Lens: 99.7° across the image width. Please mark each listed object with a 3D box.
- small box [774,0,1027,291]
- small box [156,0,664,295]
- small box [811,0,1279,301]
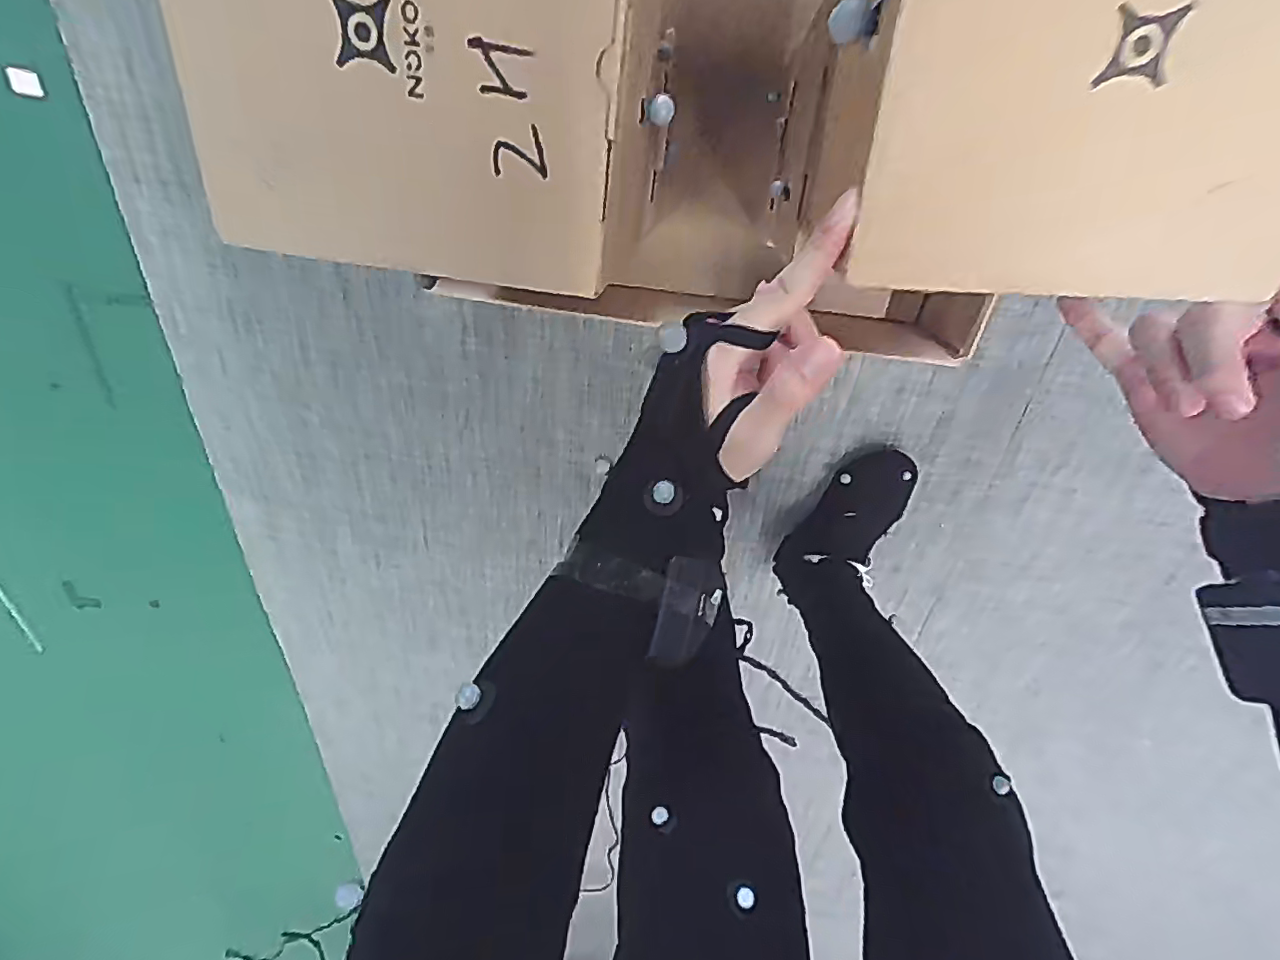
[{"bbox_3d":[0.203,-0.248,0.399,0.179,0.176,0.168,8,121,5],"label":"small box"},{"bbox_3d":[-0.088,-0.202,0.269,0.179,0.176,0.168,9,119,1],"label":"small box"},{"bbox_3d":[0.178,-0.193,0.246,0.168,0.176,0.179,5,121,8],"label":"small box"}]
